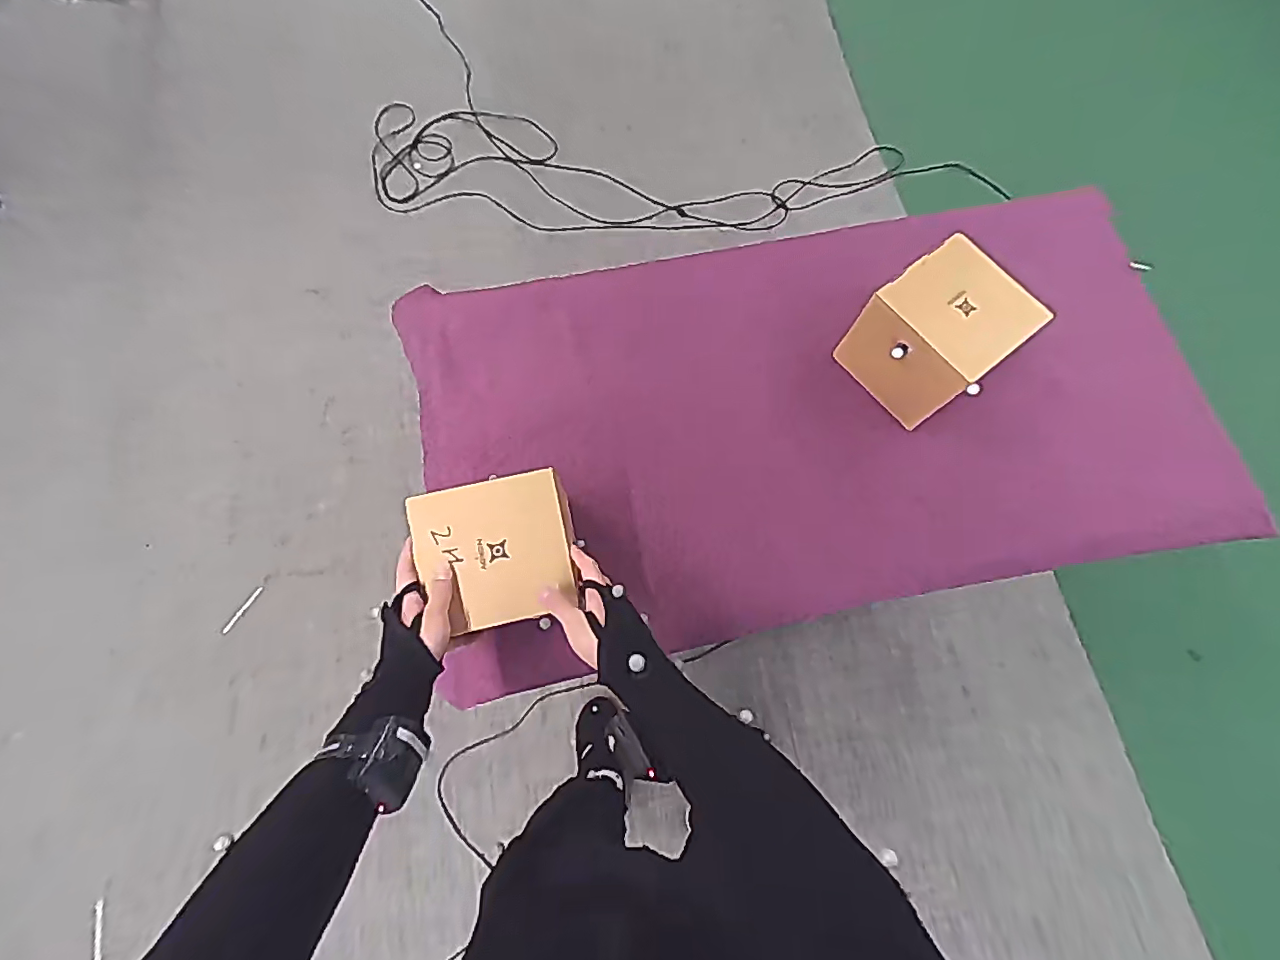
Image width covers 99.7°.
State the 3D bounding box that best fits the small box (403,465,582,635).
[{"bbox_3d":[-0.174,0.092,0.690,0.179,0.176,0.168,-13,78,-3],"label":"small box"}]

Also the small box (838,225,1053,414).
[{"bbox_3d":[0.427,-0.217,0.788,0.168,0.176,0.179,-37,76,-9],"label":"small box"}]
